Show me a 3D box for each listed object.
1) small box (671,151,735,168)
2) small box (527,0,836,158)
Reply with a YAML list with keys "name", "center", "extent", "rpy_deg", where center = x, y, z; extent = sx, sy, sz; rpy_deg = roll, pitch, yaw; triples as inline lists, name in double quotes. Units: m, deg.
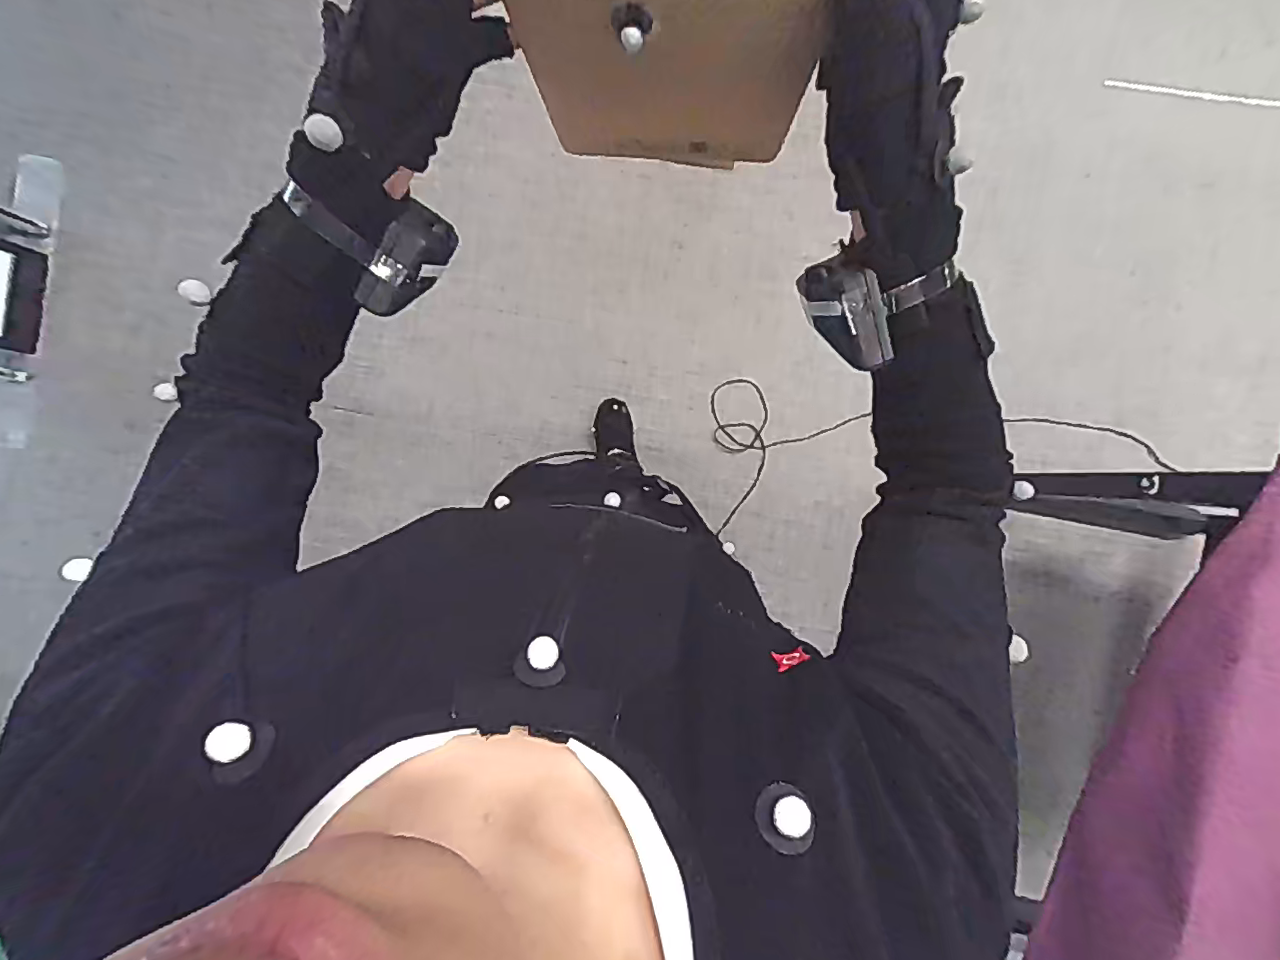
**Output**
- name: "small box"
  center: [0.176, -0.931, 1.383]
  extent: [0.179, 0.176, 0.168]
  rpy_deg: [10, 91, 2]
- name: "small box"
  center: [0.024, -0.330, 0.324]
  extent: [0.168, 0.176, 0.179]
  rpy_deg: [5, 96, 3]
